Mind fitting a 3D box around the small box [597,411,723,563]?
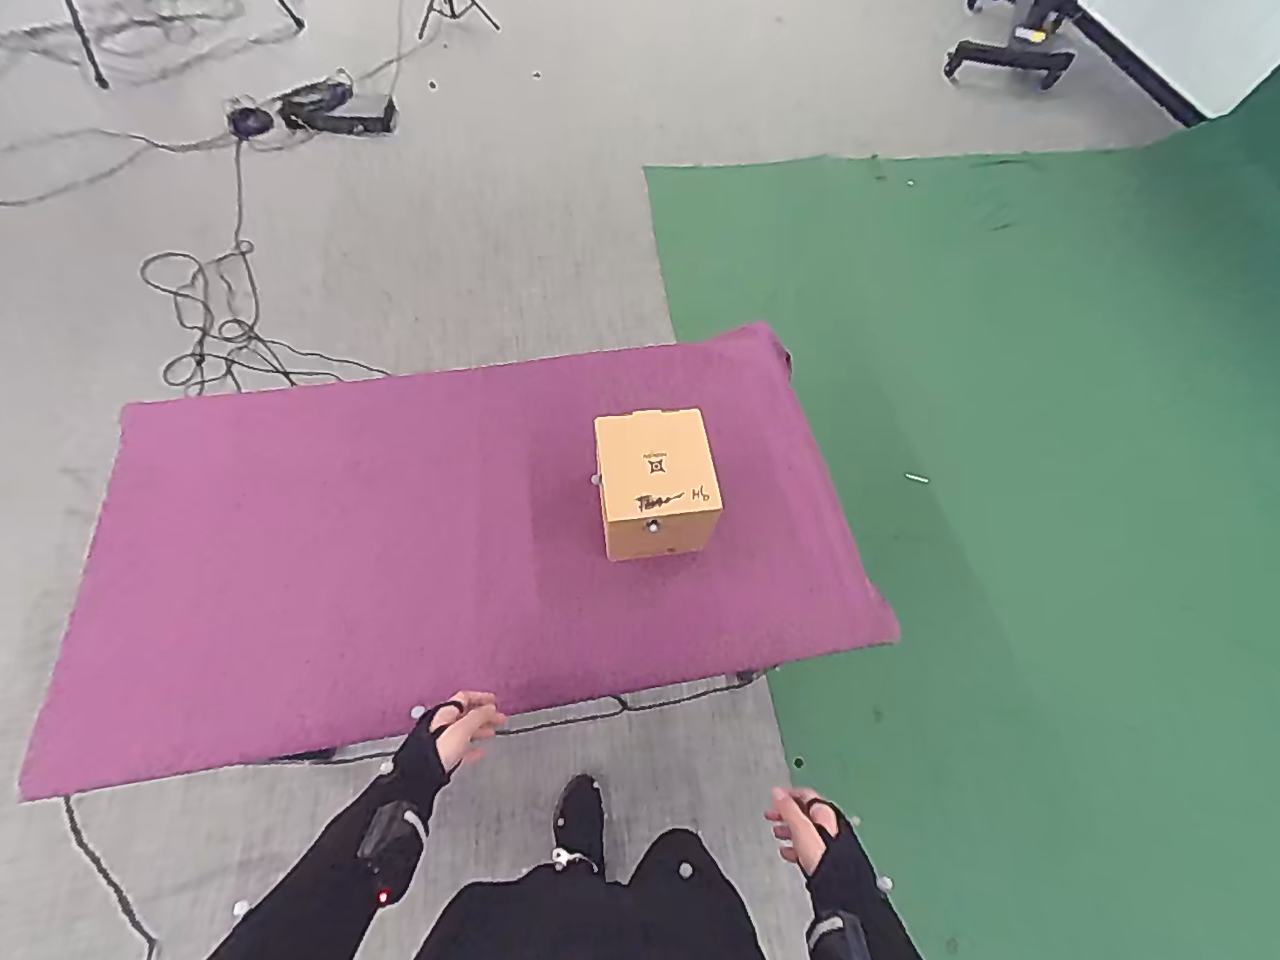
[{"bbox_3d":[0.021,0.014,0.848,0.168,0.176,0.179,-5,62,-6],"label":"small box"}]
